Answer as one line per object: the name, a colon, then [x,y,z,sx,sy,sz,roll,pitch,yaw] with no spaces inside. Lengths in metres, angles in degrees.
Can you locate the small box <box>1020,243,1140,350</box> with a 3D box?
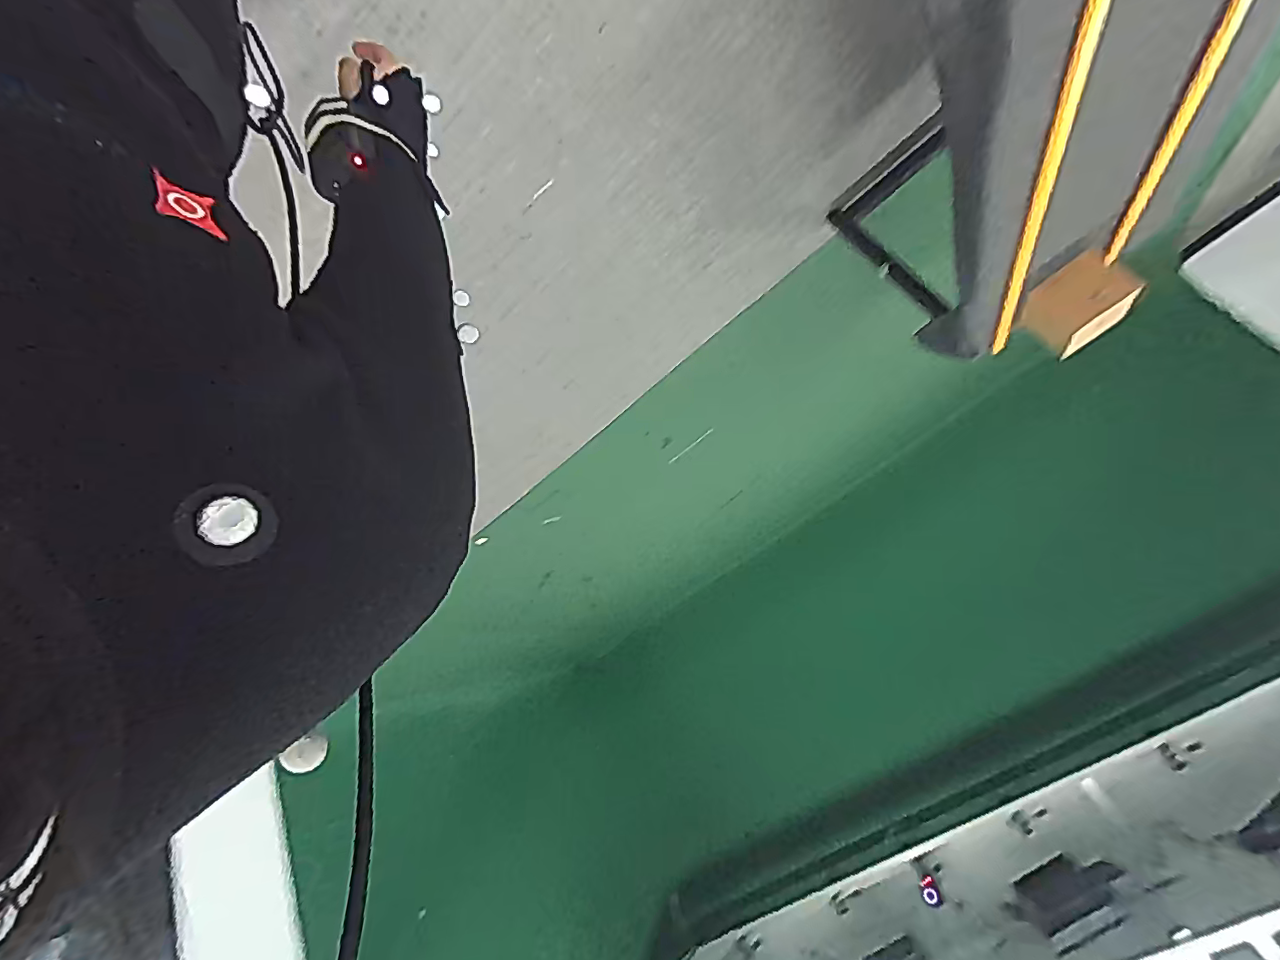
small box: [1.186,-0.500,1.477,0.179,0.176,0.168,-38,152,14]
